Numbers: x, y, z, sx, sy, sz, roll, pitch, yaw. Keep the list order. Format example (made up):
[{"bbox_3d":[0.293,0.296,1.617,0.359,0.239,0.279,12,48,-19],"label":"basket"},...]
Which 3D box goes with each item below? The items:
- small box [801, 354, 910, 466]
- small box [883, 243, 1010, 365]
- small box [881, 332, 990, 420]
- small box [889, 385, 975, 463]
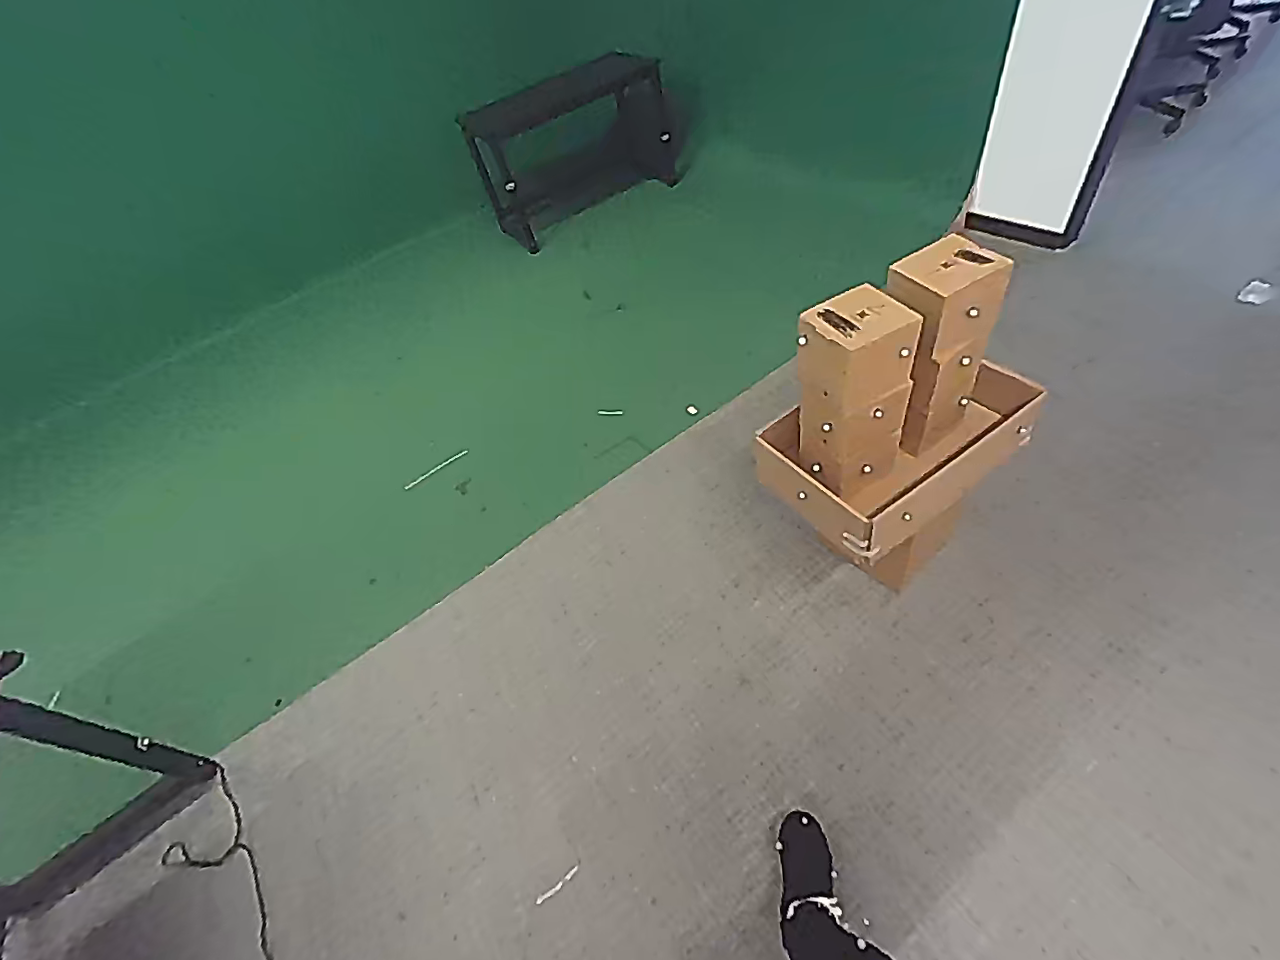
[{"bbox_3d":[0.501,-0.161,1.279,0.179,0.176,0.168,-24,48,-7],"label":"small box"},{"bbox_3d":[0.674,-0.392,1.214,0.179,0.176,0.168,-28,48,-6],"label":"small box"},{"bbox_3d":[0.710,-0.284,1.332,0.179,0.176,0.168,-35,50,-12],"label":"small box"},{"bbox_3d":[0.750,-0.182,1.451,0.179,0.176,0.168,-34,49,-13],"label":"small box"}]
